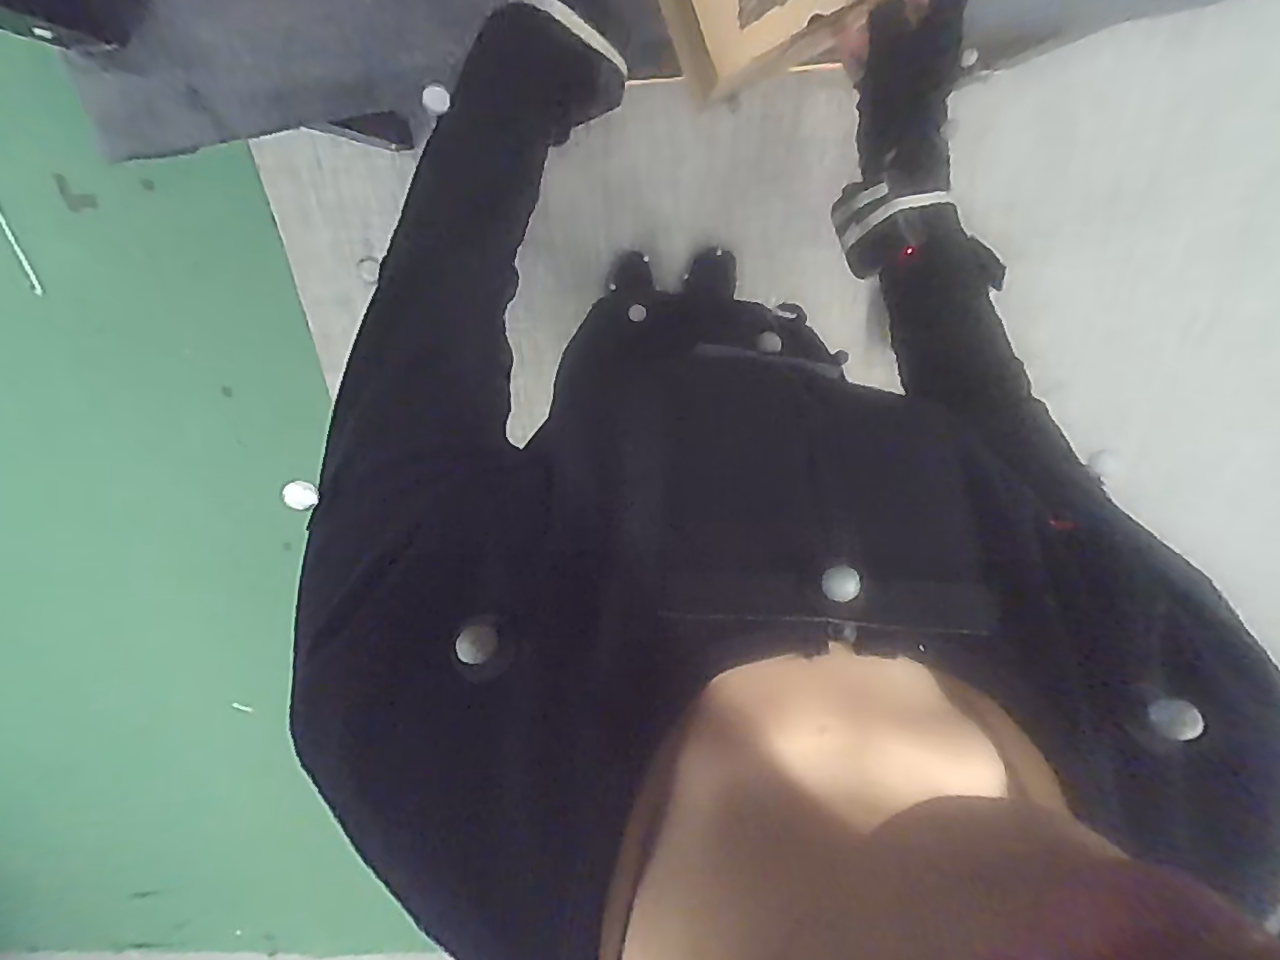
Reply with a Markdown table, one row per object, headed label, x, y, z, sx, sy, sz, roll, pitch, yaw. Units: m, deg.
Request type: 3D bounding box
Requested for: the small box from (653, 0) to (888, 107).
| label | x | y | z | sx | sy | sz | roll | pitch | yaw |
| --- | --- | --- | --- | --- | --- | --- | --- | --- | --- |
| small box | 0.096 | -0.445 | 0.451 | 0.168 | 0.176 | 0.179 | -22 | 113 | 11 |
